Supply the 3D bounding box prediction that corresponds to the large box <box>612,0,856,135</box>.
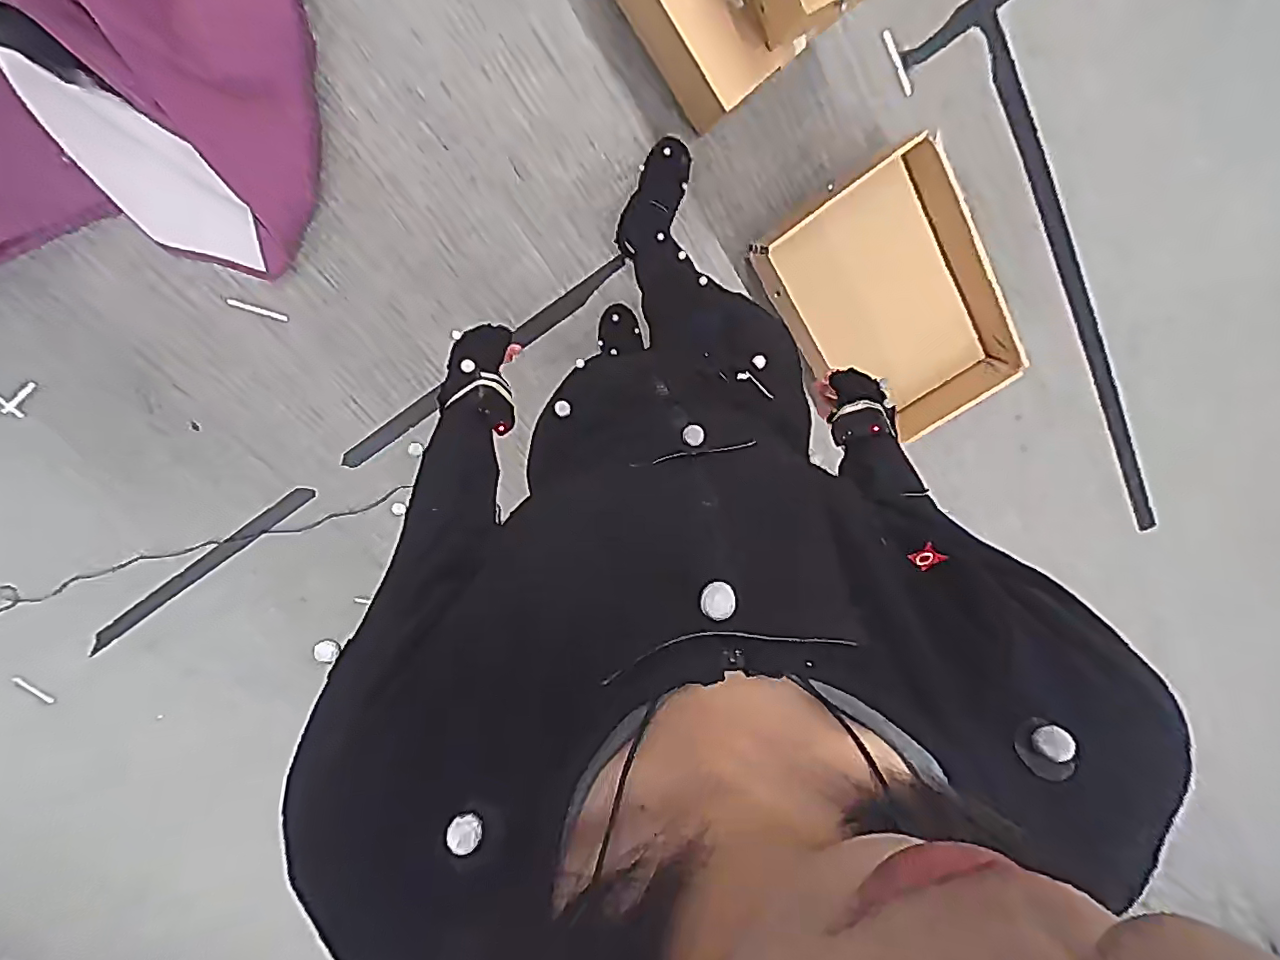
[{"bbox_3d":[0.142,-0.938,0.988,0.320,0.320,0.408,-37,112,14],"label":"large box"}]
